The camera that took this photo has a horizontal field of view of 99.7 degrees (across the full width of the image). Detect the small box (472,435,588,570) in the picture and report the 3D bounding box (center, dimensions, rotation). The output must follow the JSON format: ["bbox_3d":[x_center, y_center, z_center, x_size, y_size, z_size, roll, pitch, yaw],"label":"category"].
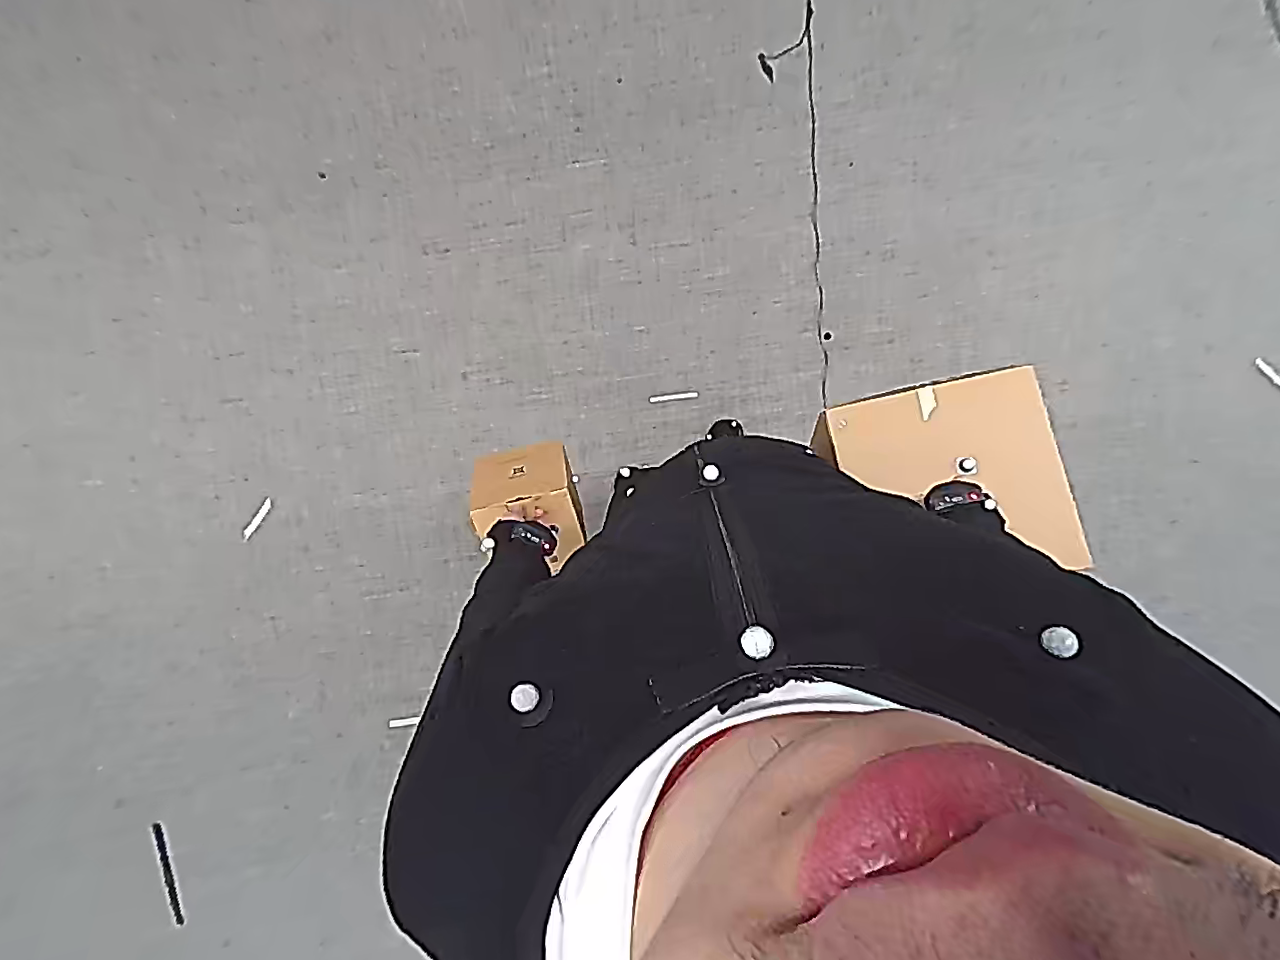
[{"bbox_3d":[-0.196,0.046,0.995,0.168,0.179,0.176,-13,126,-3],"label":"small box"}]
